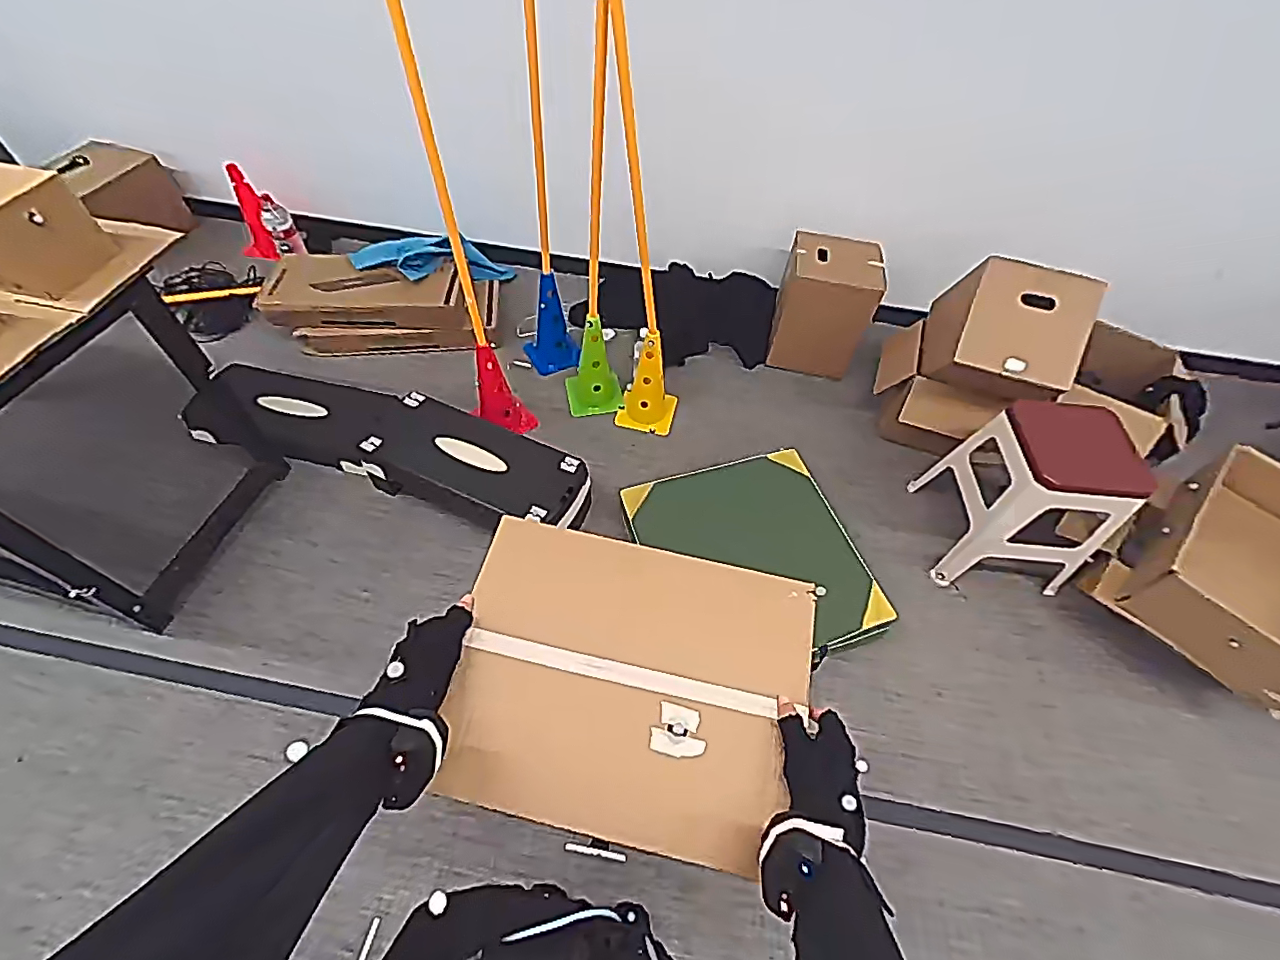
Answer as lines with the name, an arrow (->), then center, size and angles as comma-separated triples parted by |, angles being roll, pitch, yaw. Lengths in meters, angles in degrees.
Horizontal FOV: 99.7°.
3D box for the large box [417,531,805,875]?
large box -> -0.022, 0.306, 0.755 | 0.408, 0.320, 0.320 | 12, 61, 3
